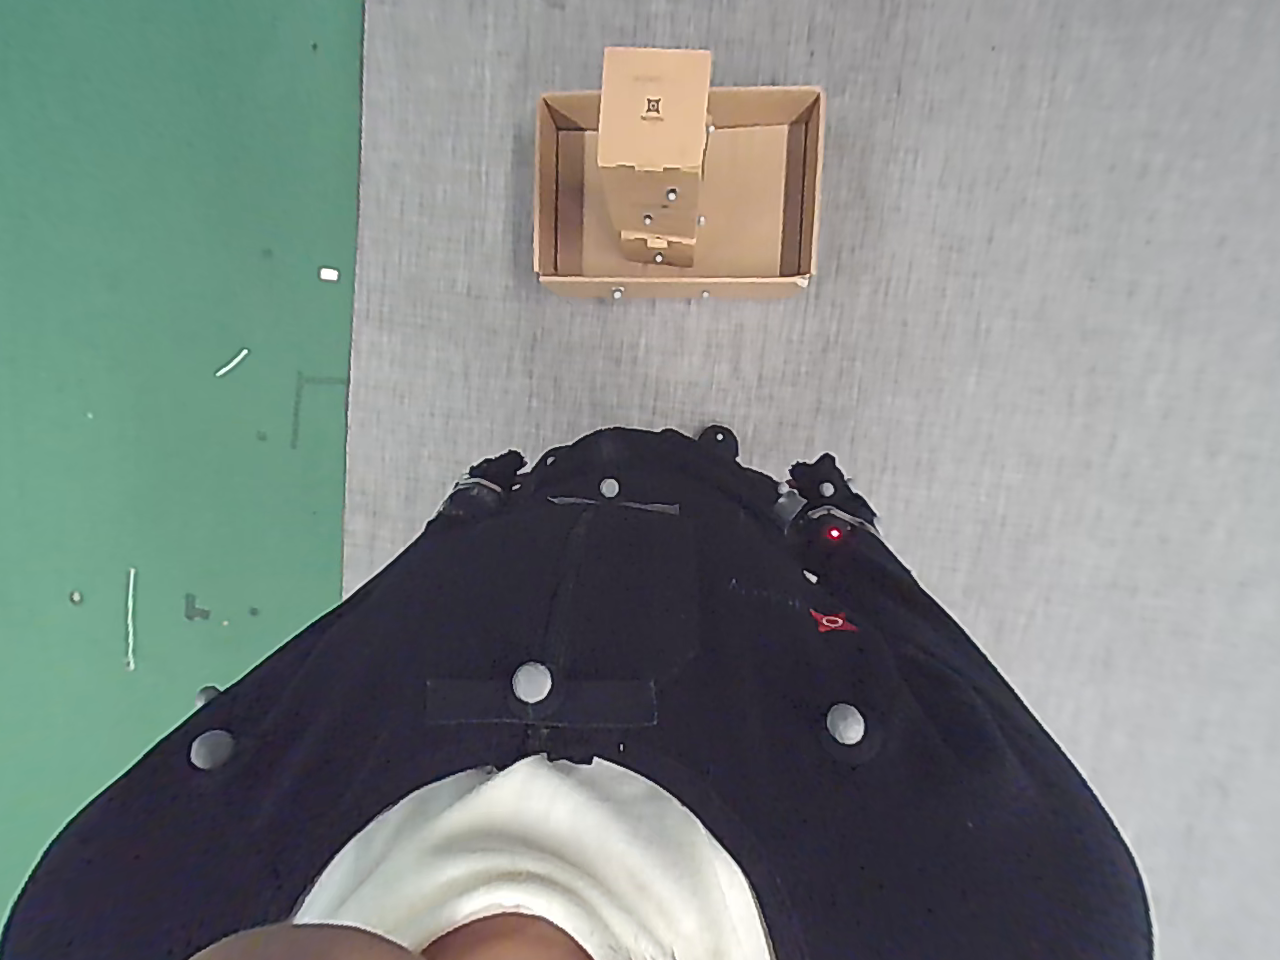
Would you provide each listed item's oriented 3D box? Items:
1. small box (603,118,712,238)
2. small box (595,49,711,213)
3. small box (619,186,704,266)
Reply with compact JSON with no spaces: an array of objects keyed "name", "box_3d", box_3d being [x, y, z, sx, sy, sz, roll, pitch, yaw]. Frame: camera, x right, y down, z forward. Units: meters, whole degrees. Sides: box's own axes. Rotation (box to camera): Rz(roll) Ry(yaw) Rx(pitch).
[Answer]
[{"name":"small box","box_3d":[0.038,-0.597,1.067,0.179,0.176,0.168,11,96,5]},{"name":"small box","box_3d":[0.024,-0.572,0.907,0.168,0.176,0.179,5,94,2]},{"name":"small box","box_3d":[0.053,-0.603,1.231,0.168,0.176,0.179,8,97,3]}]
